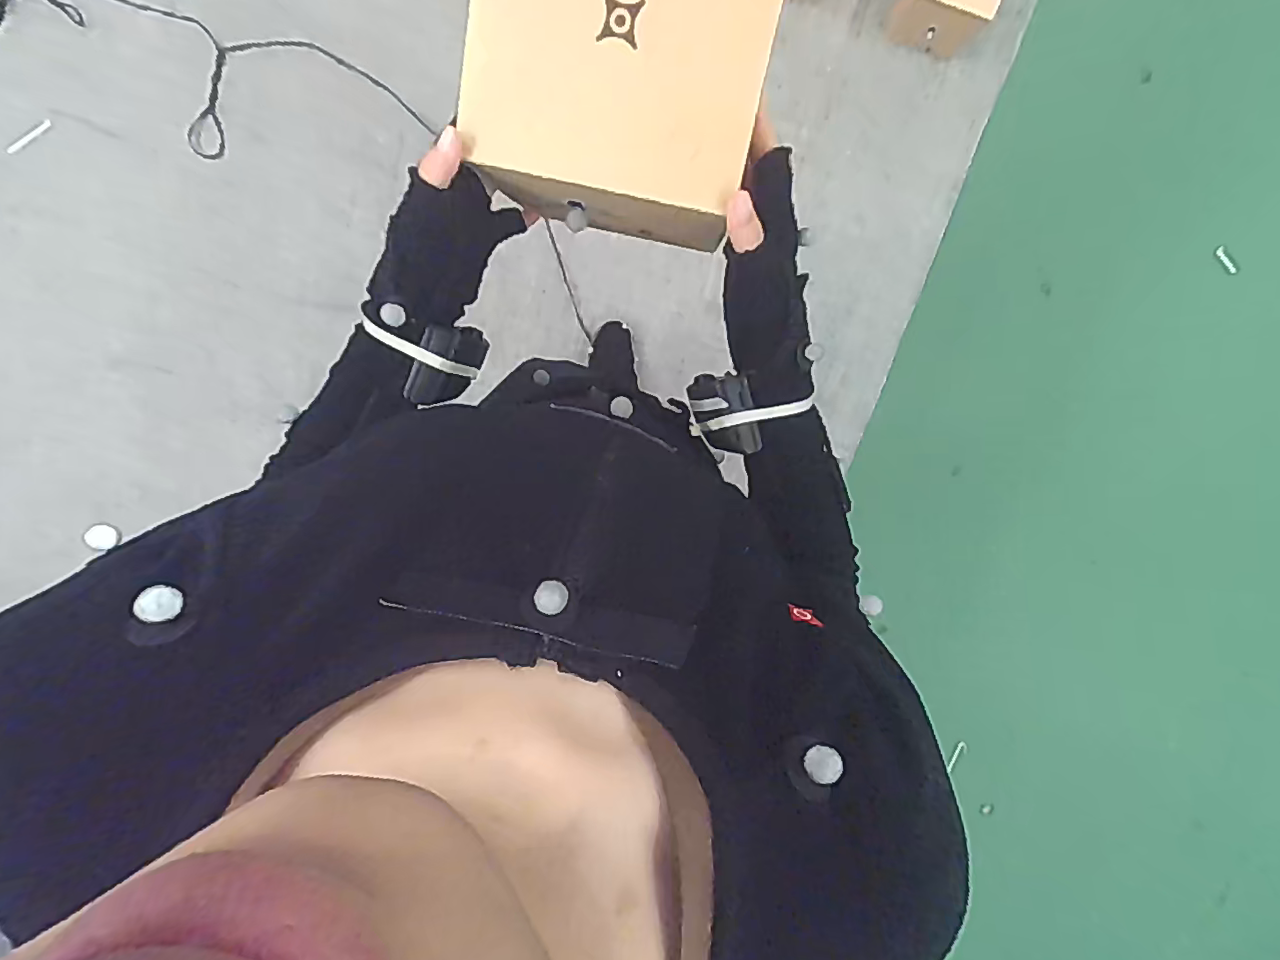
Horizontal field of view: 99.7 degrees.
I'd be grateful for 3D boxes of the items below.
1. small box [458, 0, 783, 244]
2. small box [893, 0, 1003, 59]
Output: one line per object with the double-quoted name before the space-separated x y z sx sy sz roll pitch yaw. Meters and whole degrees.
"small box" -0.002 -0.271 0.358 0.168 0.176 0.179 12 105 1
"small box" 0.669 -1.050 1.149 0.168 0.176 0.179 17 103 -3
